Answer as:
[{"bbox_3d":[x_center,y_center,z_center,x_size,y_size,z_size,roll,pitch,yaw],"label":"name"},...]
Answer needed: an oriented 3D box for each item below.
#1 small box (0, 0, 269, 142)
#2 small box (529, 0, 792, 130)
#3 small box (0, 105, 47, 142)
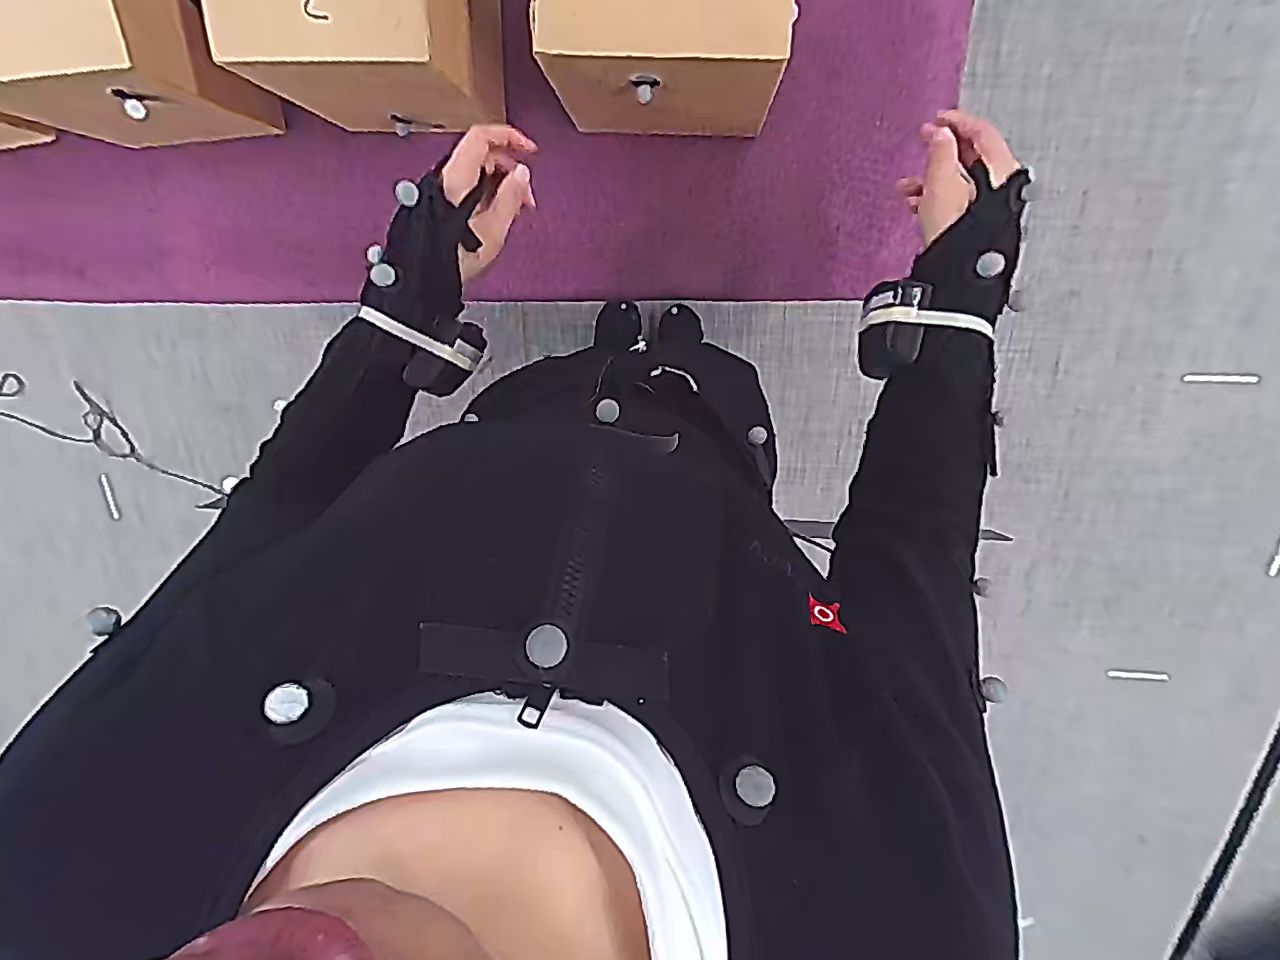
[{"bbox_3d":[-0.456,-0.406,0.457,0.179,0.176,0.168,-2,108,6],"label":"small box"},{"bbox_3d":[0.022,-0.391,0.417,0.179,0.176,0.168,4,108,2],"label":"small box"},{"bbox_3d":[-0.712,-0.412,0.481,0.168,0.176,0.179,-5,107,7],"label":"small box"}]
